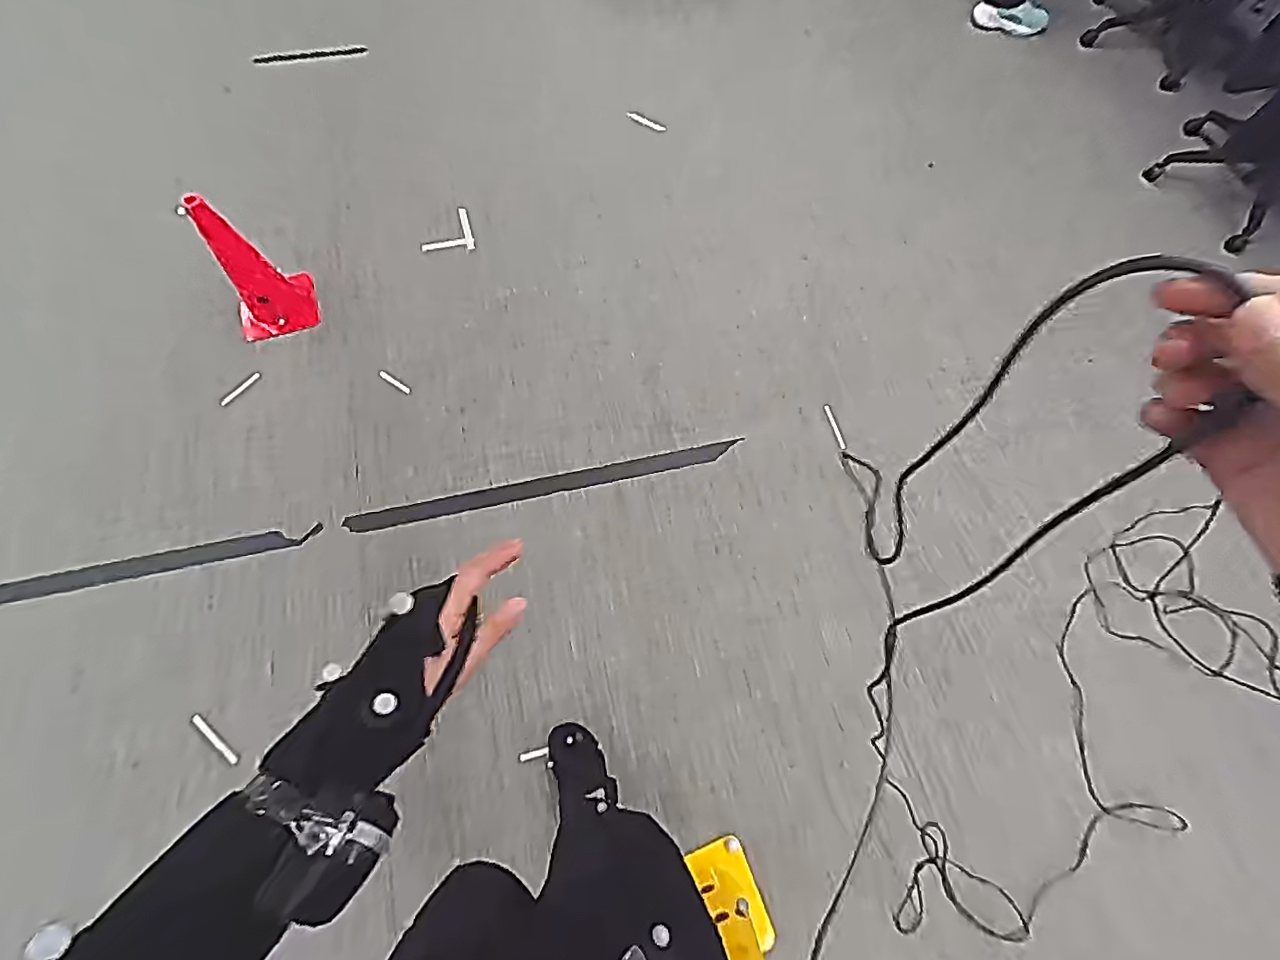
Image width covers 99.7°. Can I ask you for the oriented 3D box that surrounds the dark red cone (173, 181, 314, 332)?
[{"bbox_3d":[-1.016,-0.568,1.359,0.202,0.394,0.201,-19,71,-11],"label":"dark red cone"}]
